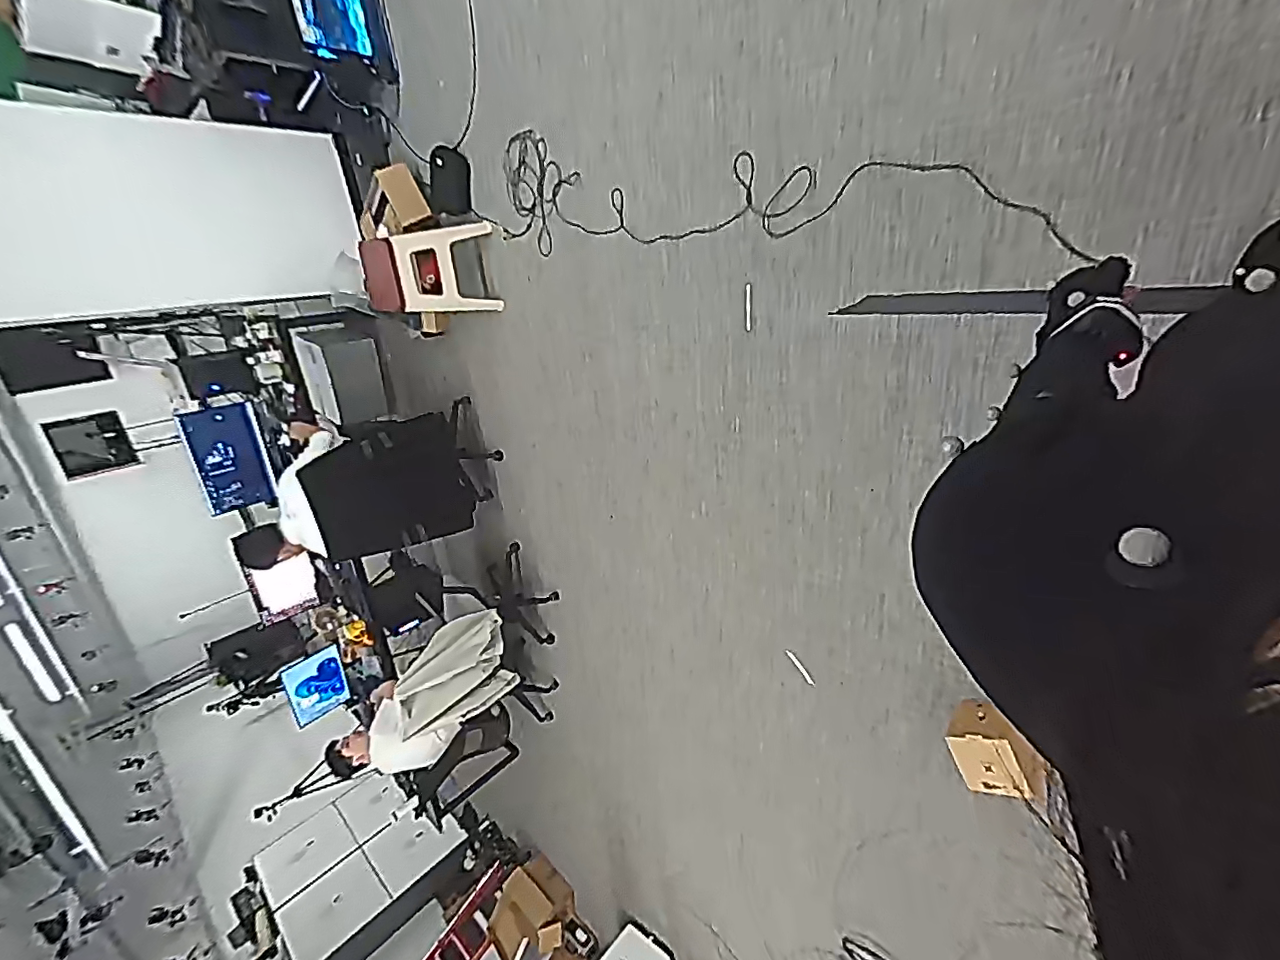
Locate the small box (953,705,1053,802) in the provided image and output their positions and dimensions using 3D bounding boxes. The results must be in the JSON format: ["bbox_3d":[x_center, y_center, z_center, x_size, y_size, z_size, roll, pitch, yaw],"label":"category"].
[{"bbox_3d":[1.013,0.750,1.507,0.168,0.176,0.179,-25,90,49],"label":"small box"}]
